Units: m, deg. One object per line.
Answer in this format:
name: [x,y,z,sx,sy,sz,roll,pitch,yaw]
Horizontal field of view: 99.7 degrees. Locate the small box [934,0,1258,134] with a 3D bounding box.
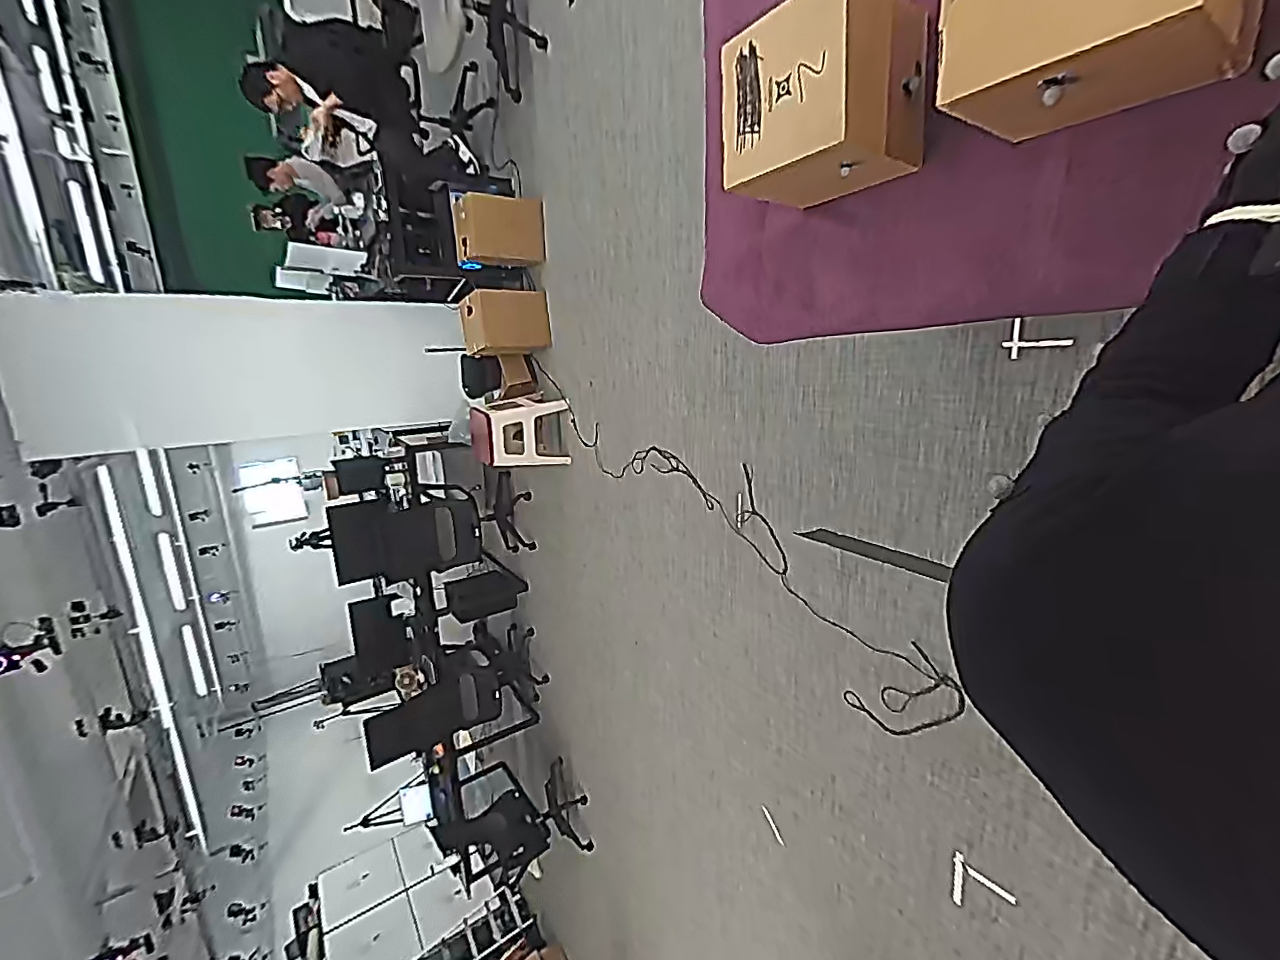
small box: [0.377,-0.413,0.443,0.179,0.176,0.168,17,113,55]
